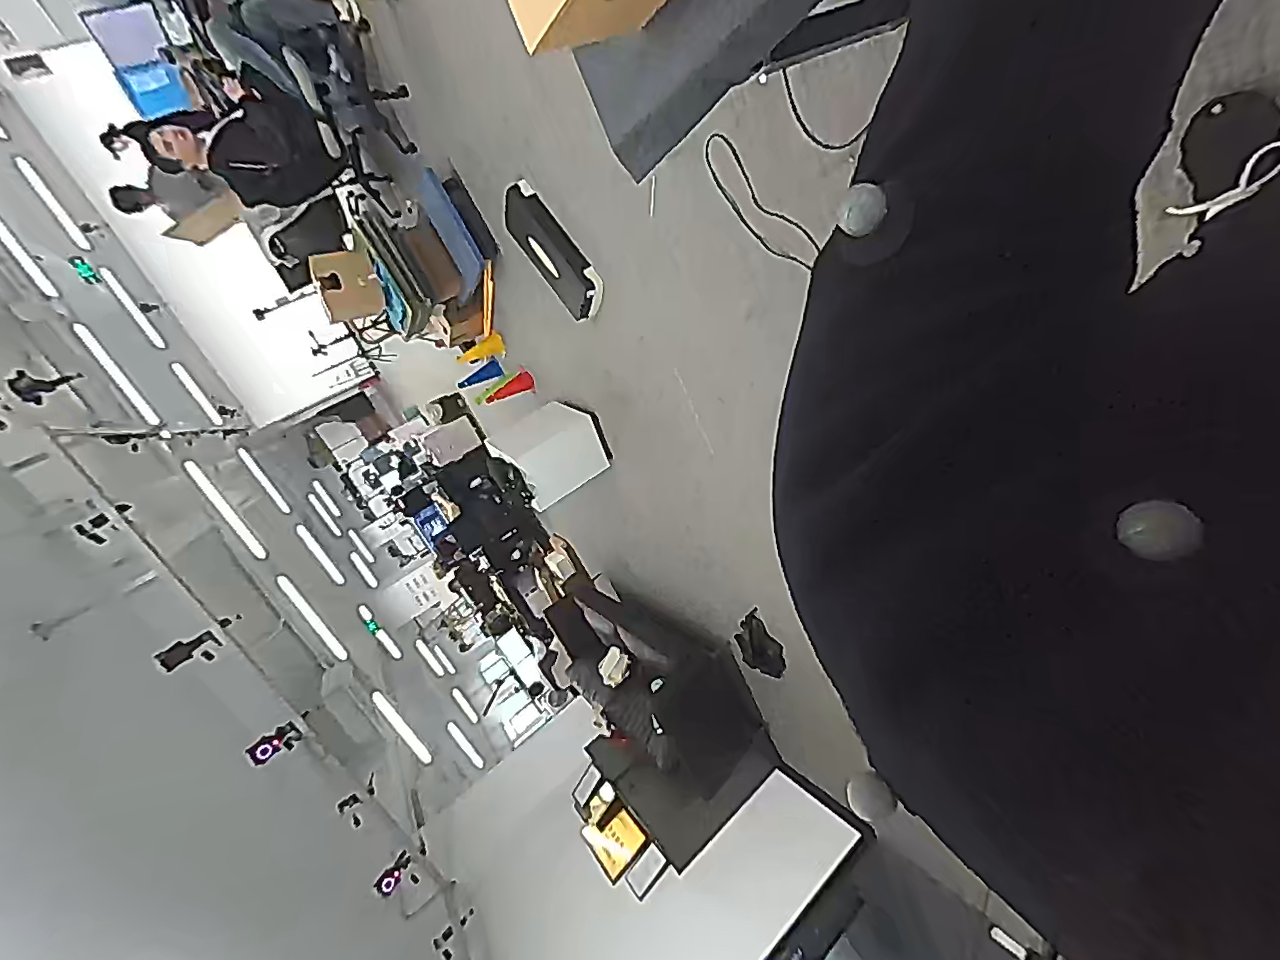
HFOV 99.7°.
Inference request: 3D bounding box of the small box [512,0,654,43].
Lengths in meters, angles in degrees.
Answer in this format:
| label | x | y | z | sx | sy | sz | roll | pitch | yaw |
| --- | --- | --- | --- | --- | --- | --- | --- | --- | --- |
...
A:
| label | x | y | z | sx | sy | sz | roll | pitch | yaw |
| --- | --- | --- | --- | --- | --- | --- | --- | --- | --- |
| small box | -0.051 | -0.599 | 0.554 | 0.179 | 0.176 | 0.168 | 15 | 134 | 58 |
